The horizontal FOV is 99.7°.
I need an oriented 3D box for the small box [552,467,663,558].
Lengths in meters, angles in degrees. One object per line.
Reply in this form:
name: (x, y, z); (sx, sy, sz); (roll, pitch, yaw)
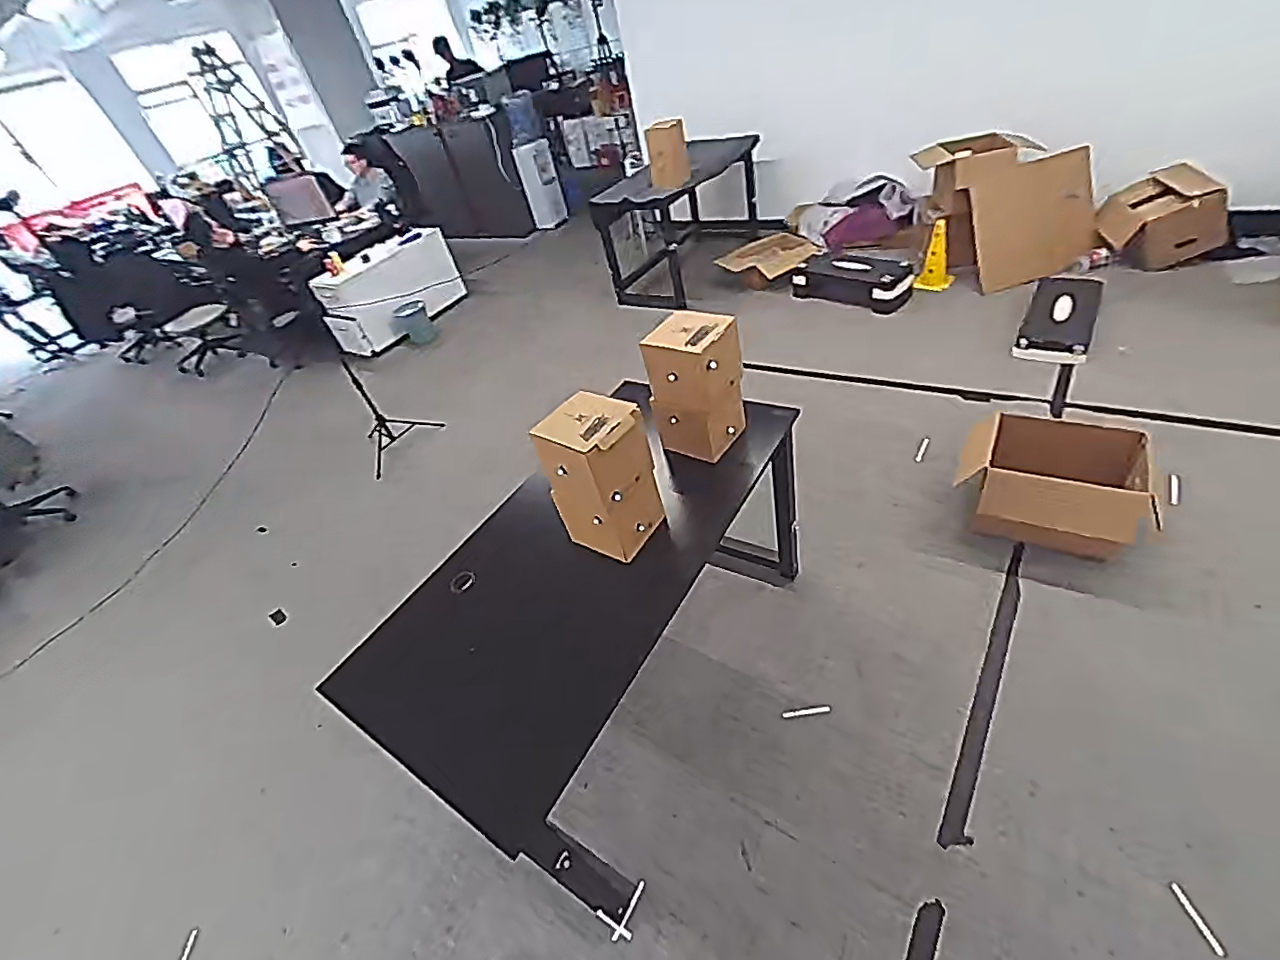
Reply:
small box: (-0.069, 0.056, 1.255); (0.179, 0.176, 0.168); (17, 51, 32)

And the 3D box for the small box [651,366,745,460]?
small box: (0.158, -0.176, 1.432); (0.179, 0.176, 0.168); (20, 54, 35)

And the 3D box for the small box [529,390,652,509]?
small box: (-0.097, -0.062, 1.144); (0.179, 0.176, 0.168); (21, 53, 36)
